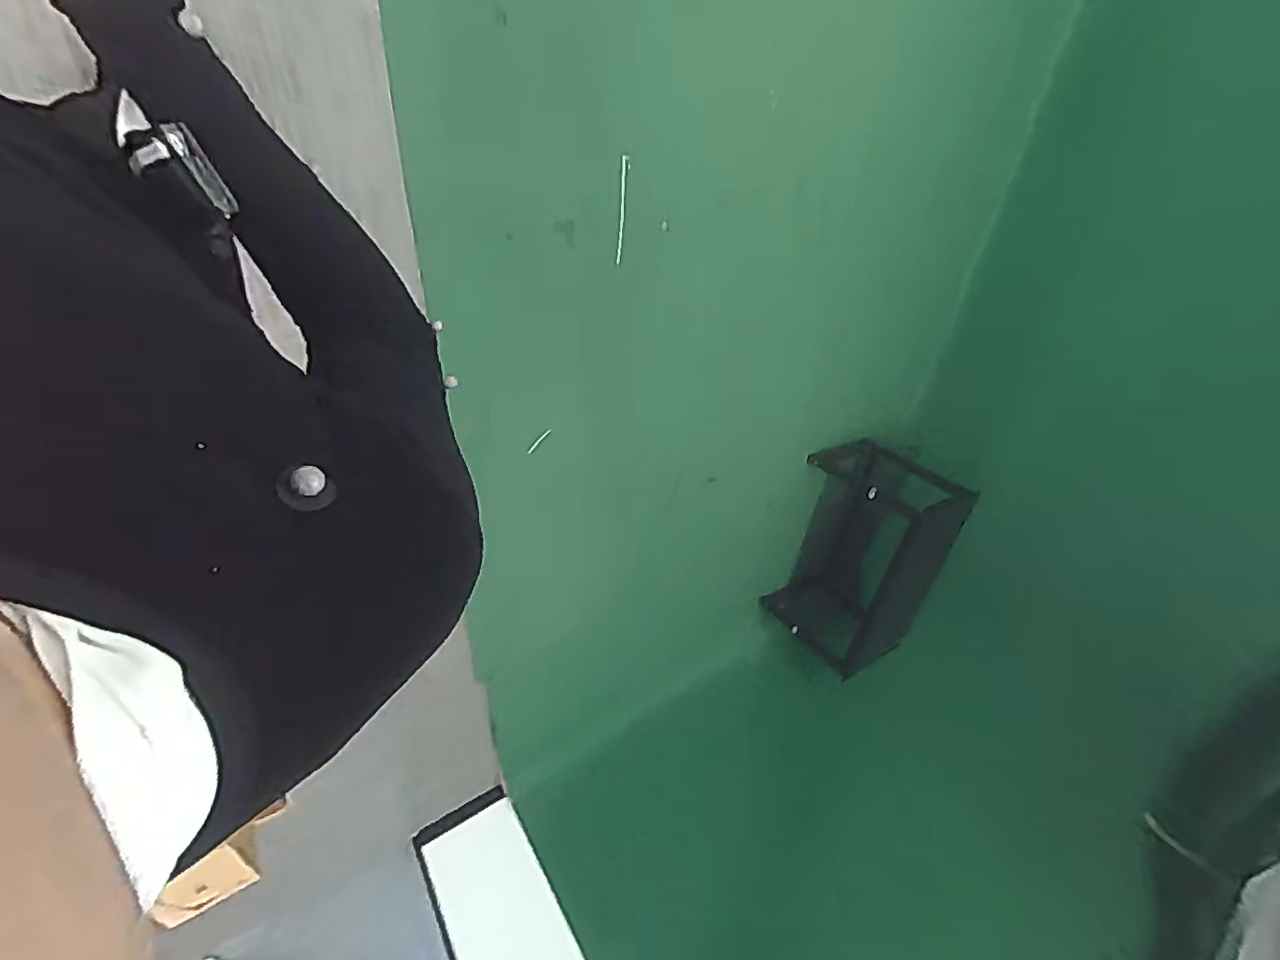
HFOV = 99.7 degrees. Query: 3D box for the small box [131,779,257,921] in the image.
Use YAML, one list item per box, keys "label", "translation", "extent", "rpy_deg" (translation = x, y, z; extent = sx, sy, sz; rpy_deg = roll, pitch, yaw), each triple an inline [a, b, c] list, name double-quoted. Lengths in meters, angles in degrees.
- label: "small box"
  translation: [-0.971, 0.798, 1.185]
  extent: [0.168, 0.176, 0.179]
  rpy_deg: [-19, 130, -28]
